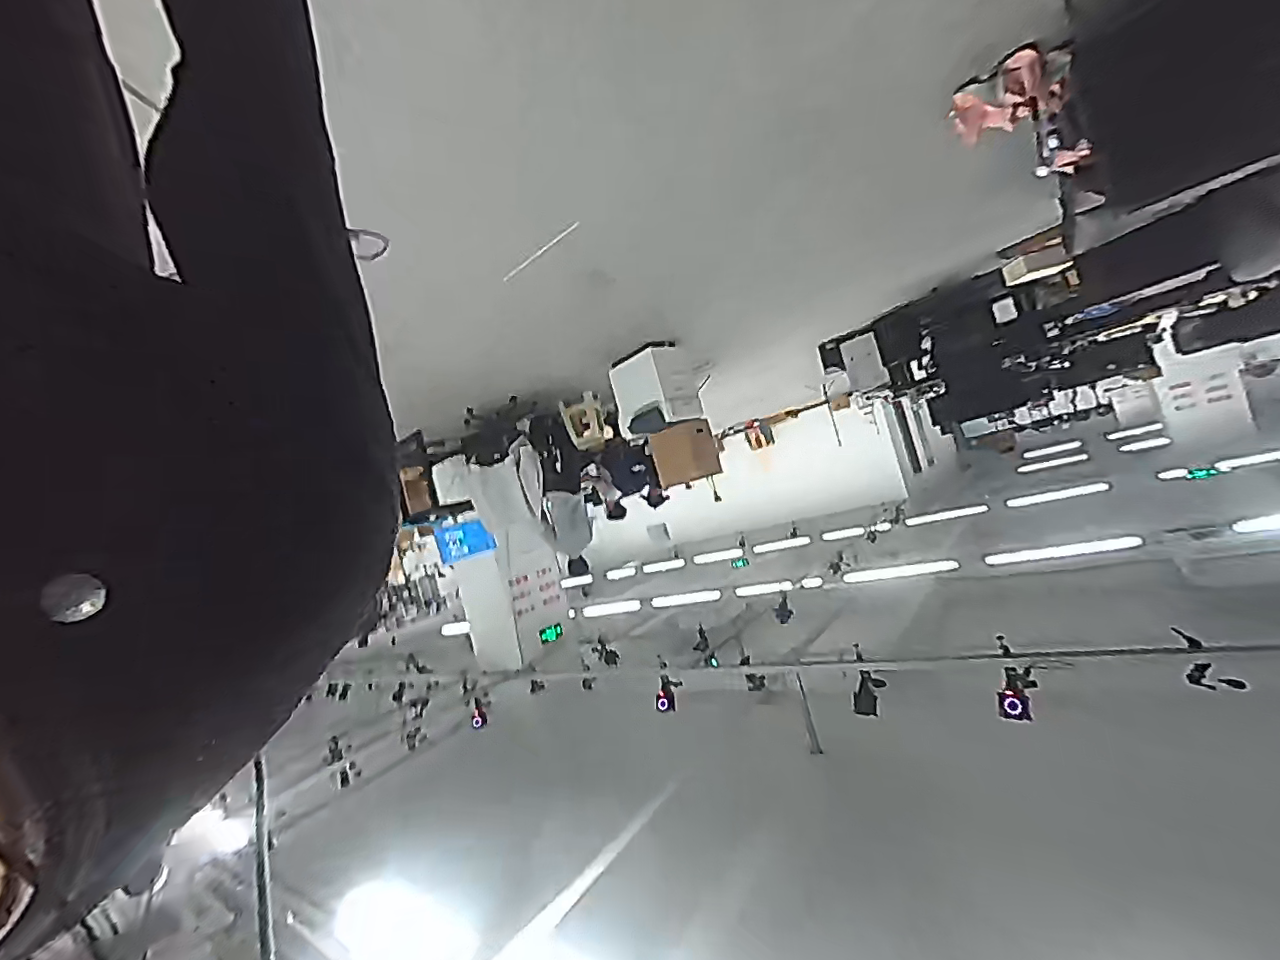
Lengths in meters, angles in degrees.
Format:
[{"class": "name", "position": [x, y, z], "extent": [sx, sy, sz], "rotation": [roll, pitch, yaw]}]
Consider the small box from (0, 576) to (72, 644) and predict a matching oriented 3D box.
[{"class": "small box", "position": [-1.925, 0.406, 1.694], "extent": [0.179, 0.176, 0.168], "rotation": [-15, 177, 38]}]

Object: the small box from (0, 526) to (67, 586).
[{"class": "small box", "position": [-1.963, 0.248, 1.704], "extent": [0.168, 0.176, 0.179], "rotation": [-16, 177, 36]}]
